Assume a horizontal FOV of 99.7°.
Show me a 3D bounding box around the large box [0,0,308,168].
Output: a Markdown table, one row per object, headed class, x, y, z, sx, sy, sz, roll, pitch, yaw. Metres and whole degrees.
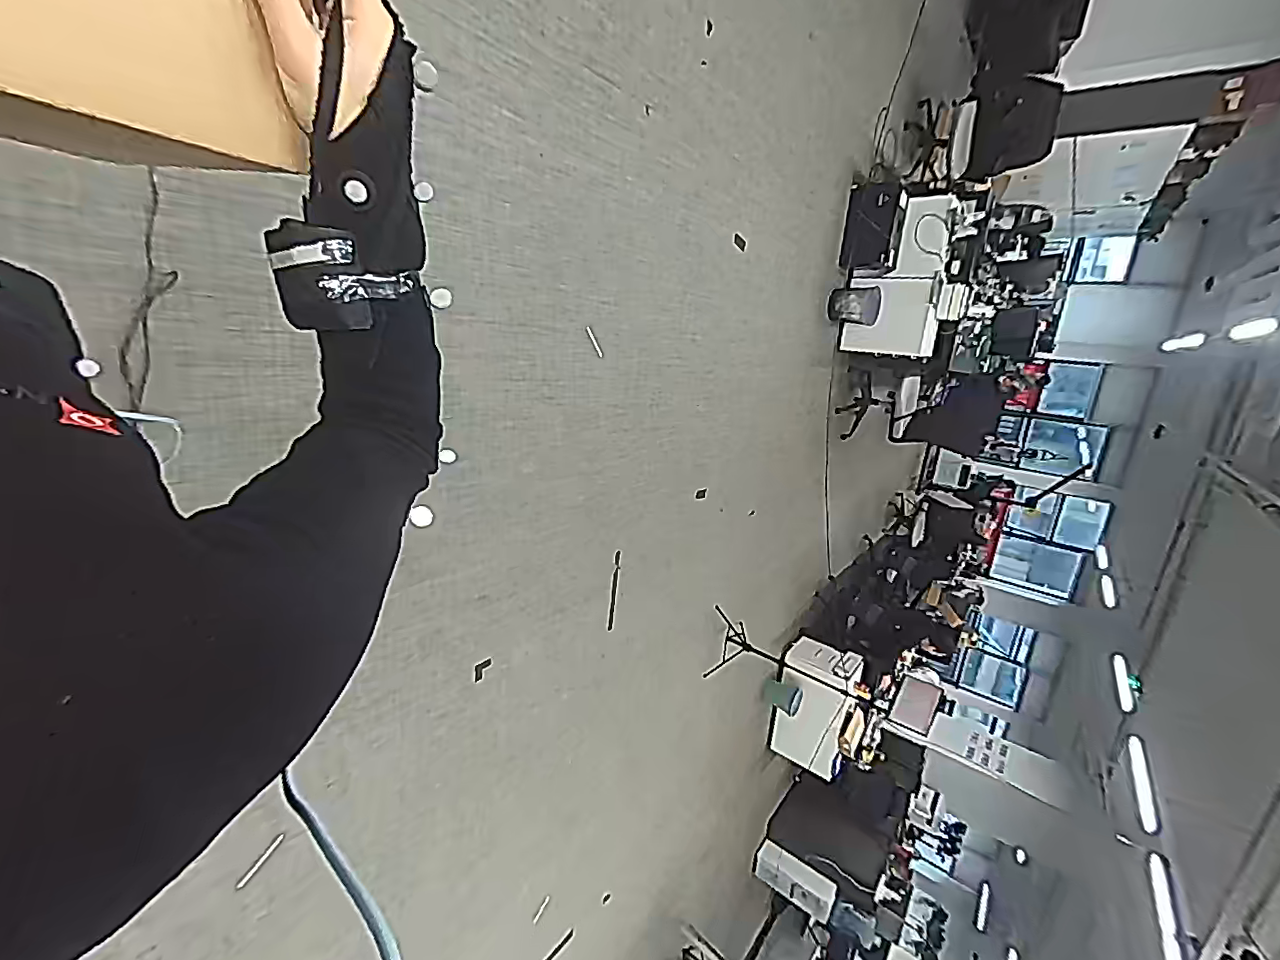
| class | x | y | z | sx | sy | sz | roll | pitch | yaw |
| --- | --- | --- | --- | --- | --- | --- | --- | --- | --- |
| large box | -0.412 | -0.339 | 0.193 | 0.408 | 0.320 | 0.320 | -18 | 124 | -56 |
